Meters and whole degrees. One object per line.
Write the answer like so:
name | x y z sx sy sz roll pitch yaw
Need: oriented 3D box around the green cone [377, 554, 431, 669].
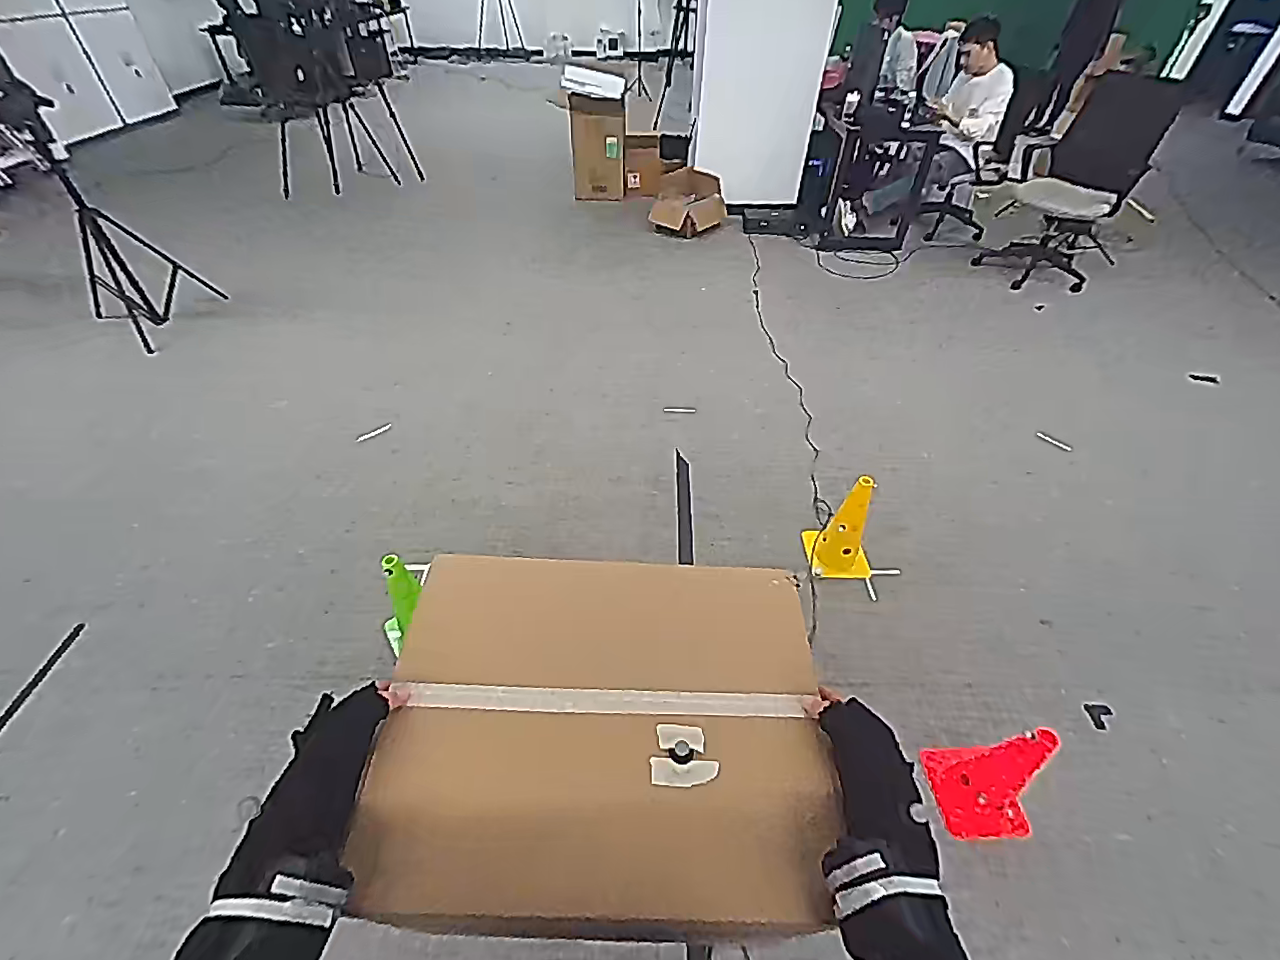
green cone | -0.649 0.328 1.516 0.202 0.368 0.200 -28 50 -24

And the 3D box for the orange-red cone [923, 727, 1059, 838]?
orange-red cone | 0.826 0.645 1.220 0.198 0.360 0.199 0 43 -2

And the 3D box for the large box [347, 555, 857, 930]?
large box | -0.036 0.306 0.623 0.408 0.320 0.320 3 48 -2
